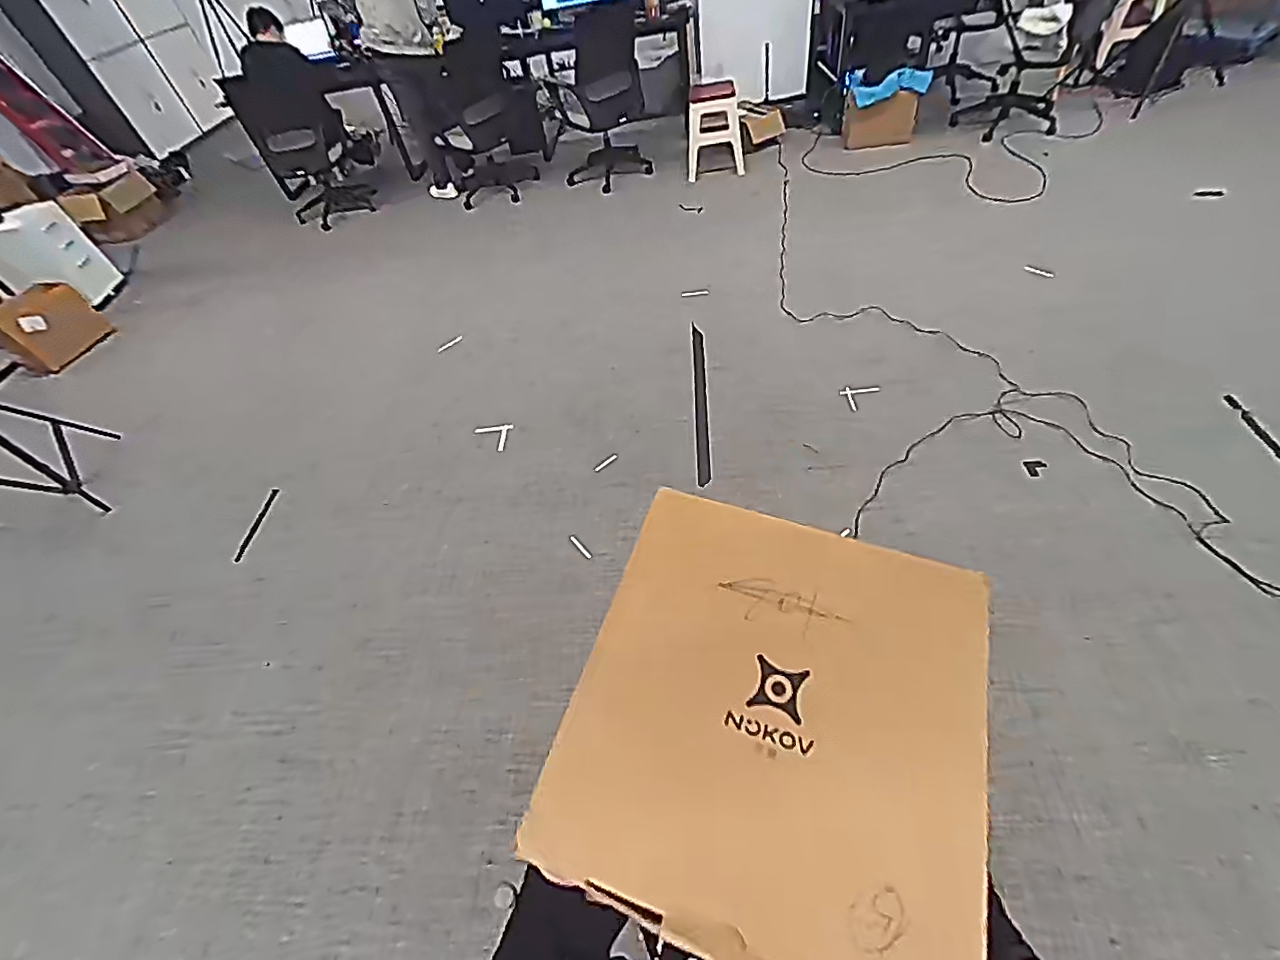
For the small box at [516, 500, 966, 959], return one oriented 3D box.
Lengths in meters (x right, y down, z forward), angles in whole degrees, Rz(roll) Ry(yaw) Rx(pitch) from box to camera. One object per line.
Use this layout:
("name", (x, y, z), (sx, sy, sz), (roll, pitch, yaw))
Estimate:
("small box", (0.058, 0.144, 0.306), (0.168, 0.176, 0.179), (16, 56, 13))
